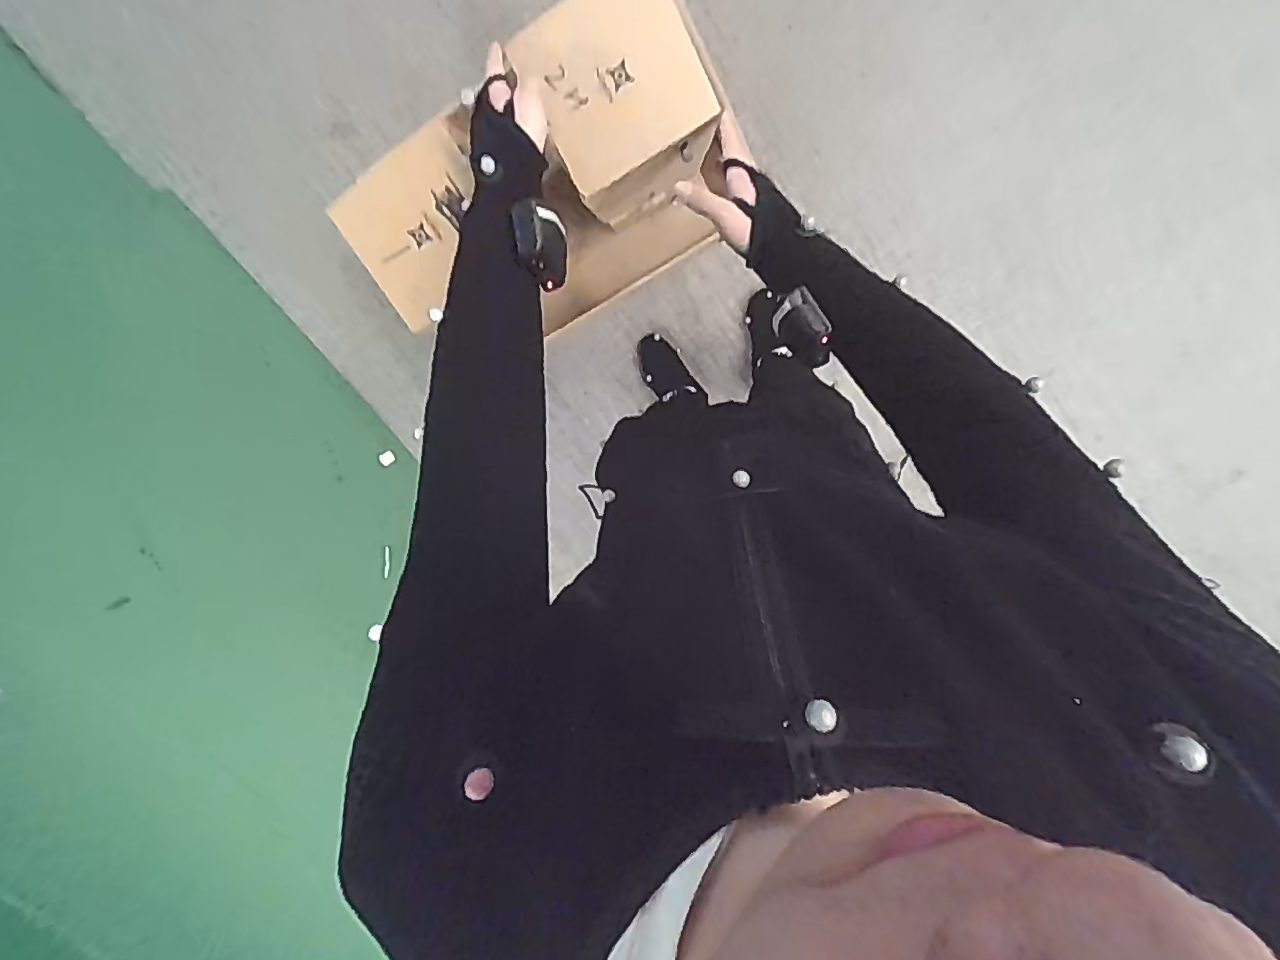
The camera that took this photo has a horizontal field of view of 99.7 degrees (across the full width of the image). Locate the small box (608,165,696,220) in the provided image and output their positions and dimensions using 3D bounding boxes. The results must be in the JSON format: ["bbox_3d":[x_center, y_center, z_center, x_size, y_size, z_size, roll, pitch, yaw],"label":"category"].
[{"bbox_3d":[-0.009,-0.577,0.950,0.168,0.176,0.179,-23,107,12],"label":"small box"}]

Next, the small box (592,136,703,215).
[{"bbox_3d":[-0.021,-0.517,0.800,0.179,0.176,0.168,-24,107,12],"label":"small box"}]

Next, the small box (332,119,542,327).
[{"bbox_3d":[-0.246,-0.326,0.713,0.179,0.176,0.168,-29,106,14],"label":"small box"}]

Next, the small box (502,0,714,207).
[{"bbox_3d":[-0.030,-0.454,0.645,0.179,0.176,0.168,-26,107,13],"label":"small box"}]
